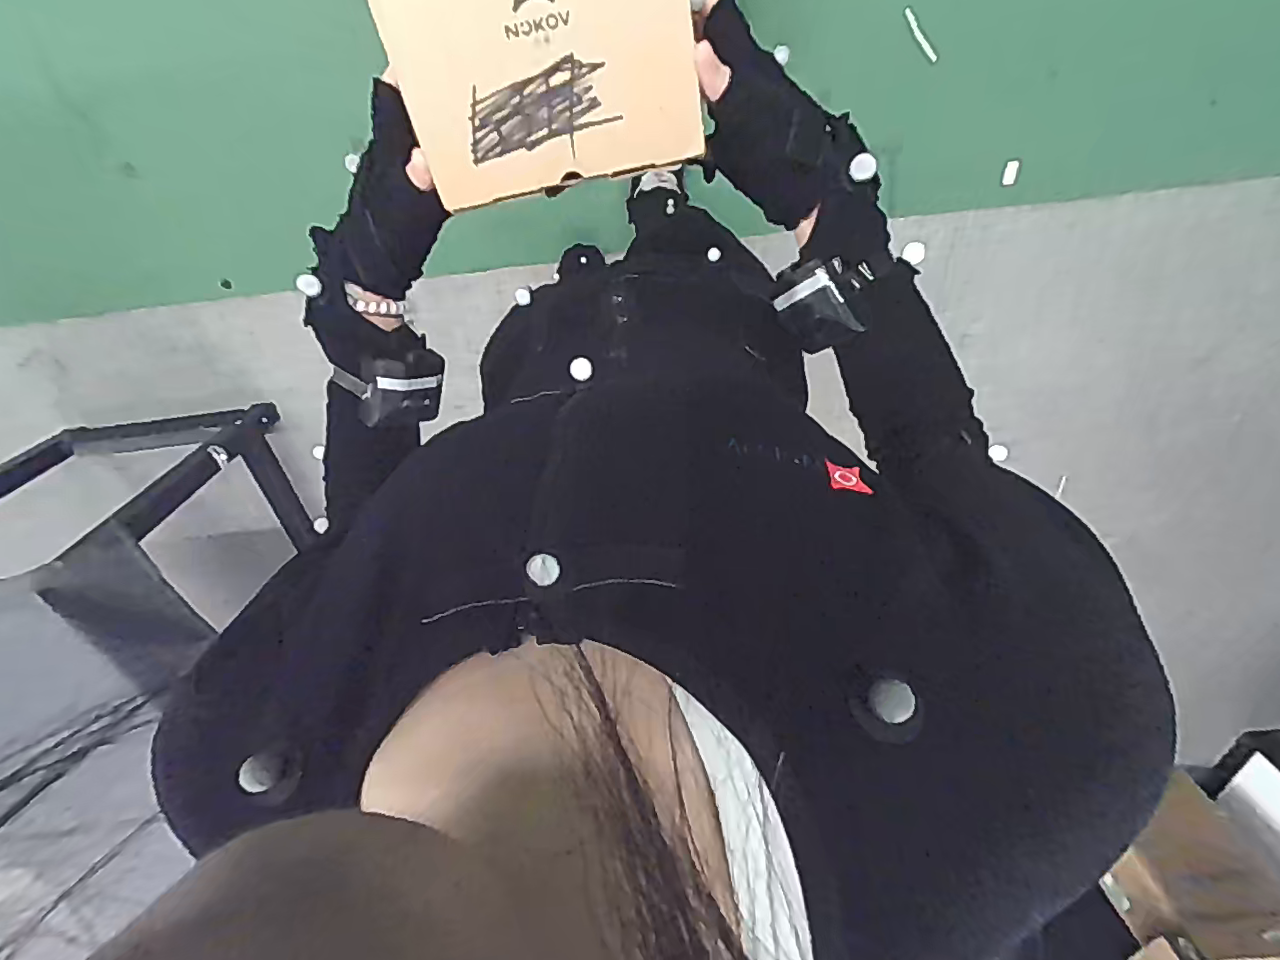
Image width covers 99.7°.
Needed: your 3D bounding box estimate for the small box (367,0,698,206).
[{"bbox_3d":[-0.061,-0.298,0.343,0.168,0.176,0.179,-10,125,5],"label":"small box"}]
